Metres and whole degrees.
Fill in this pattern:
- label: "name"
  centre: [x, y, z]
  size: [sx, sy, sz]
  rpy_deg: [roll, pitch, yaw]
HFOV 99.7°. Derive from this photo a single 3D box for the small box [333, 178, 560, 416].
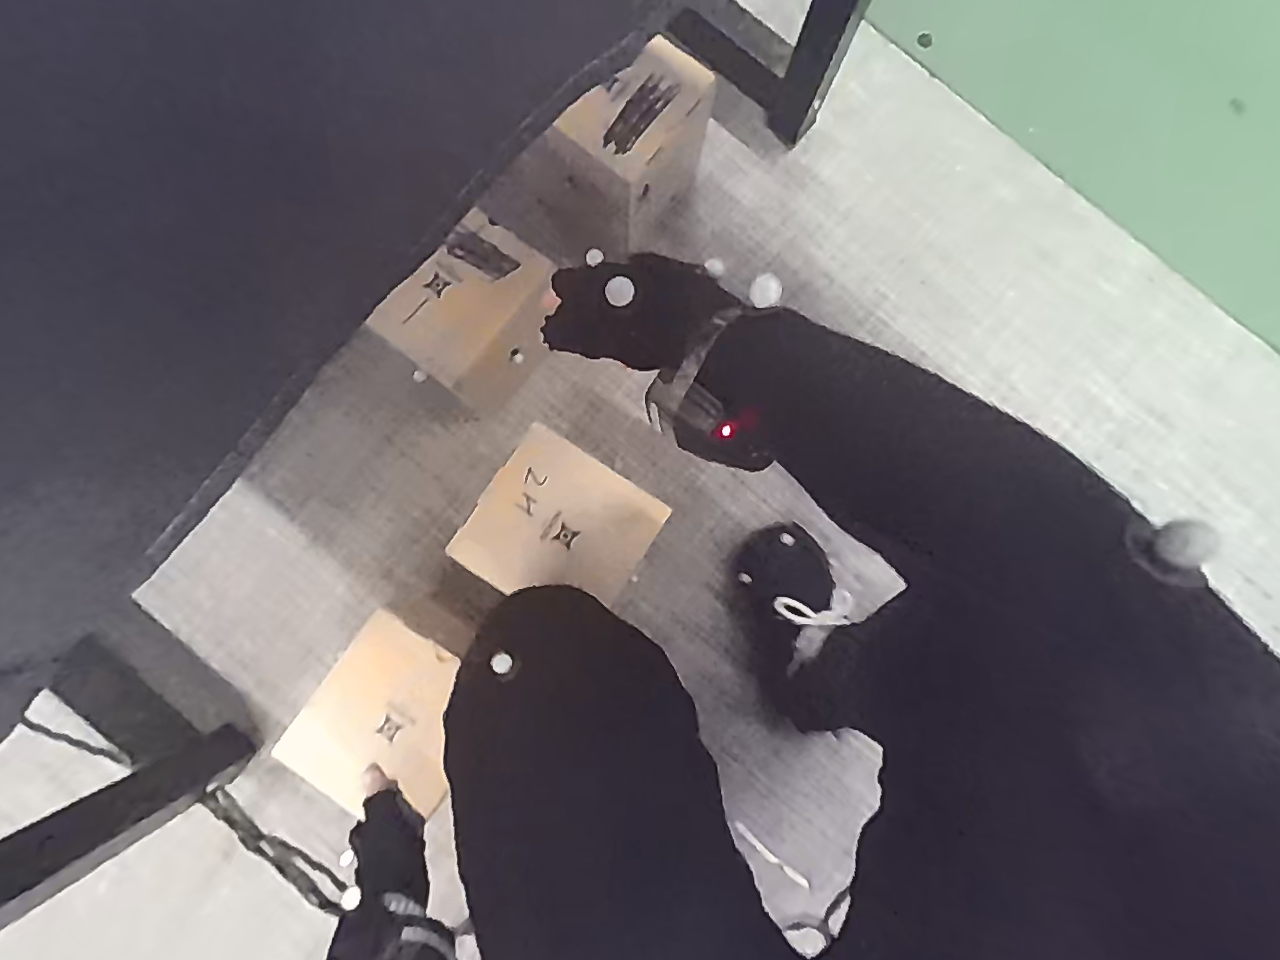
- label: "small box"
  centre: [-0.210, -0.201, 0.647]
  size: [0.168, 0.176, 0.179]
  rpy_deg: [38, 85, 1]
